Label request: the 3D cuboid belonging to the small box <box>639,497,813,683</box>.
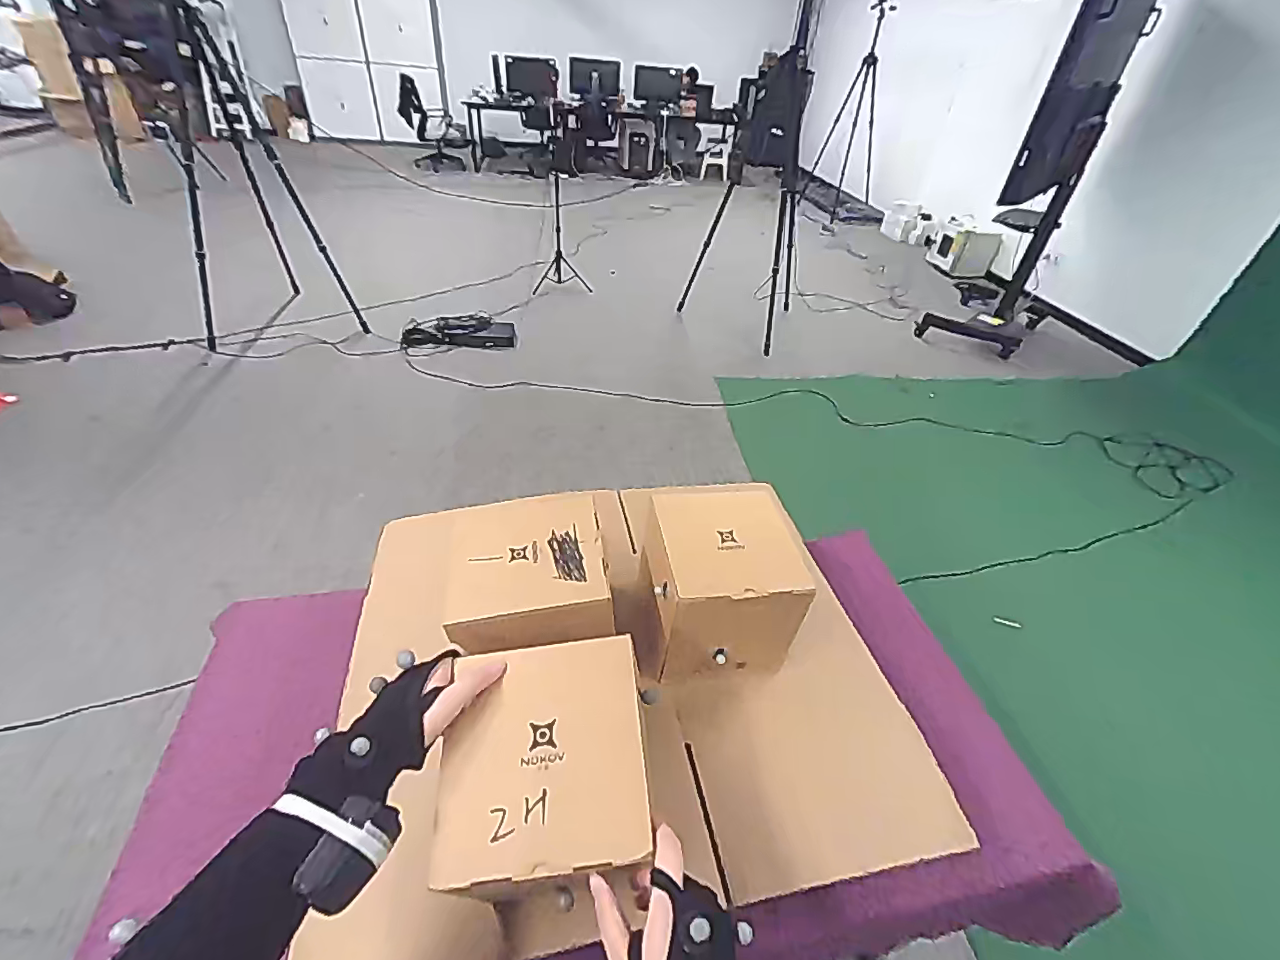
[{"bbox_3d":[0.097,0.142,0.716,0.168,0.176,0.179,-2,40,-11],"label":"small box"}]
